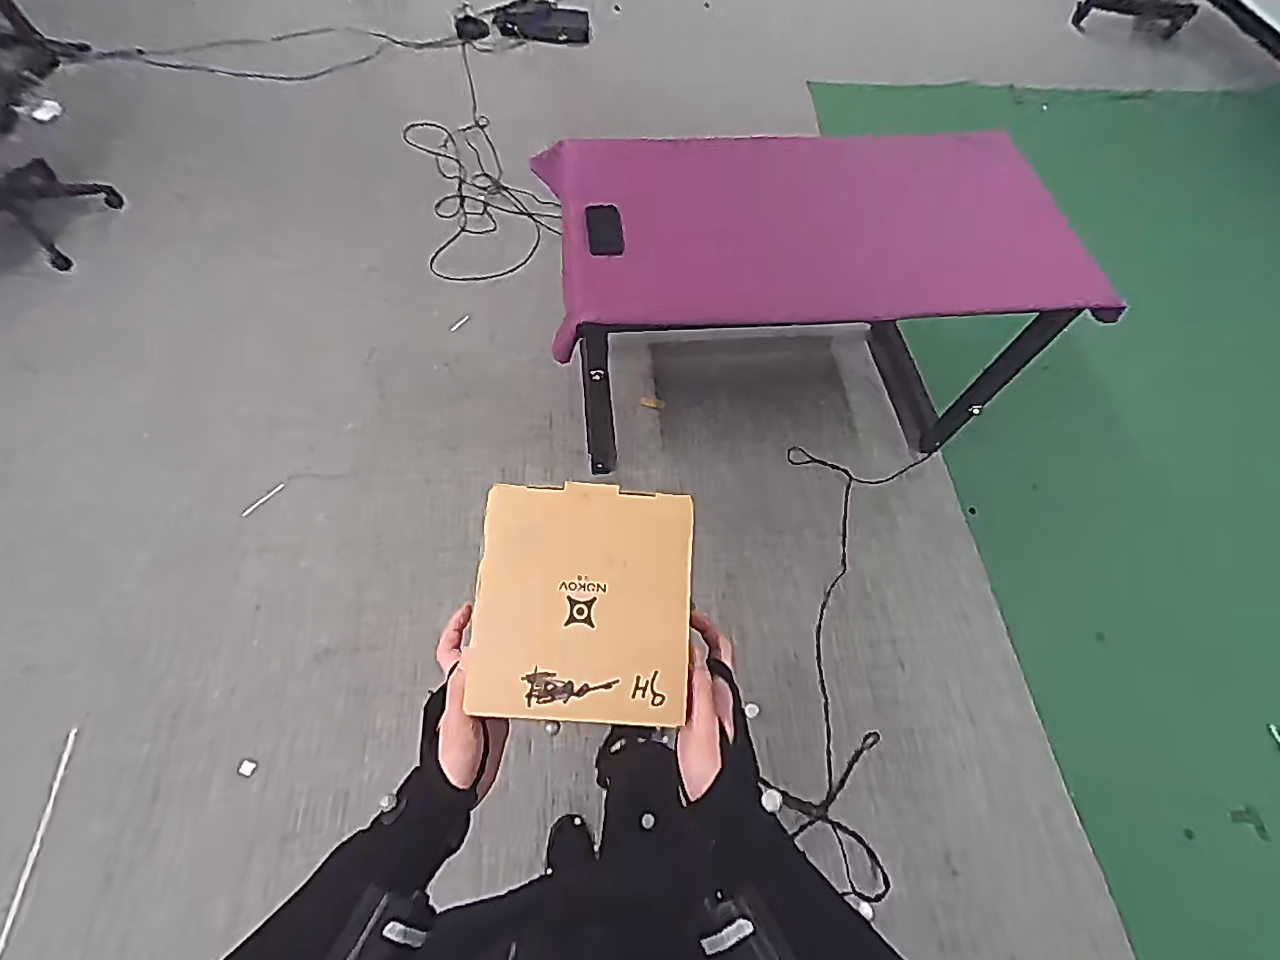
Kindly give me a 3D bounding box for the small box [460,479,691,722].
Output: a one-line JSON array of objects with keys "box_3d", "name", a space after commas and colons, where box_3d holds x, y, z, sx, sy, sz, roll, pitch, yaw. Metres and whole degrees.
[{"box_3d": [-0.046, 0.108, 0.492, 0.168, 0.176, 0.179, 3, 76, 1], "name": "small box"}]
